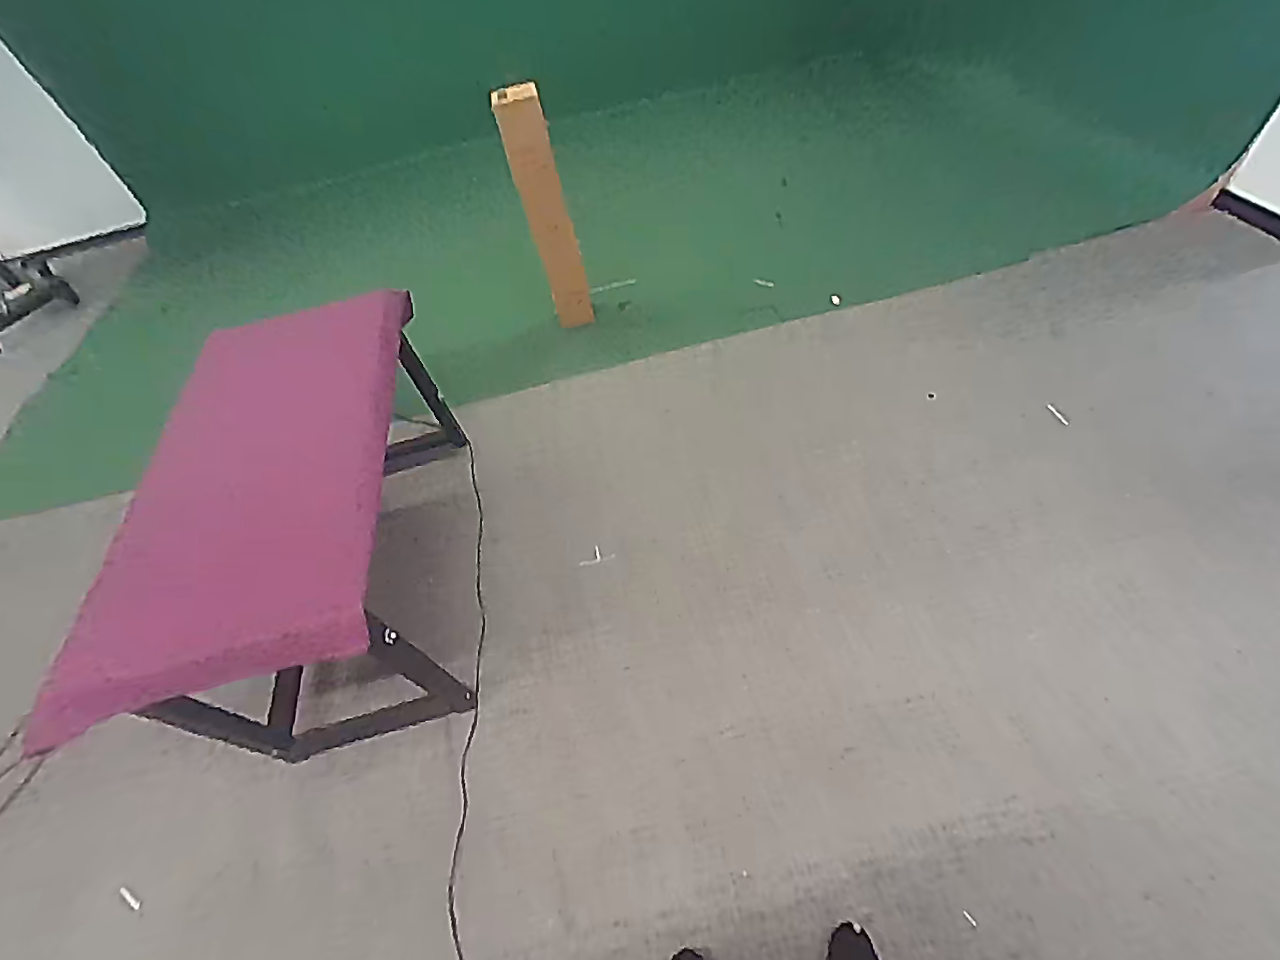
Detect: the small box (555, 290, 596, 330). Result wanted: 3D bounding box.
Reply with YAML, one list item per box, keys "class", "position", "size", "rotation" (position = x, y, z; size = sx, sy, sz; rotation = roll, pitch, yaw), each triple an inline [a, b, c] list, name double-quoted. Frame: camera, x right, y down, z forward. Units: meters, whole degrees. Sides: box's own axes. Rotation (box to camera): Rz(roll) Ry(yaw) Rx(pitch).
- class: "small box"
  position: [-0.323, -0.891, 2.736]
  size: [0.179, 0.176, 0.168]
  rotation: [-14, 51, 0]

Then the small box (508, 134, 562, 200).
- class: "small box"
  position: [-0.428, -1.293, 2.233]
  size: [0.179, 0.176, 0.168]
  rotation: [-17, 50, 0]

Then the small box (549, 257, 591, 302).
- class: "small box"
  position: [-0.343, -0.993, 2.612]
  size: [0.179, 0.176, 0.168]
  rotation: [-17, 51, -1]

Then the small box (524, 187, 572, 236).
- class: "small box"
  position: [-0.405, -1.191, 2.359]
  size: [0.168, 0.176, 0.179]
  rotation: [-16, 52, -1]

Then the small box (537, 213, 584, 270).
- class: "small box"
  position: [-0.371, -1.093, 2.486]
  size: [0.179, 0.176, 0.168]
  rotation: [-17, 52, -3]
